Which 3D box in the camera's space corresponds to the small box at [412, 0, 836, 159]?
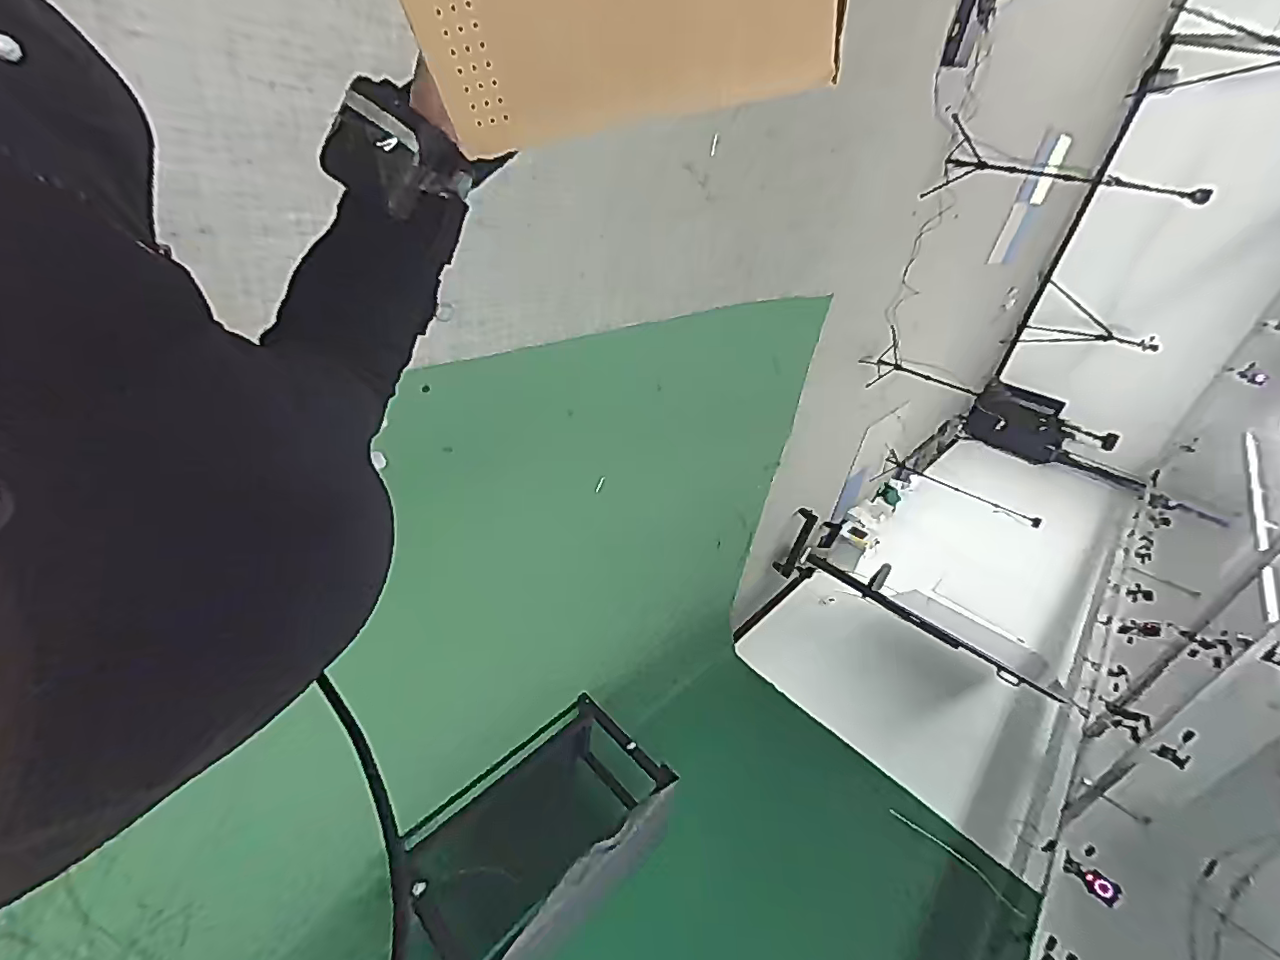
[{"bbox_3d":[-0.013,-0.274,0.232,0.179,0.176,0.168,70,21,-49],"label":"small box"}]
